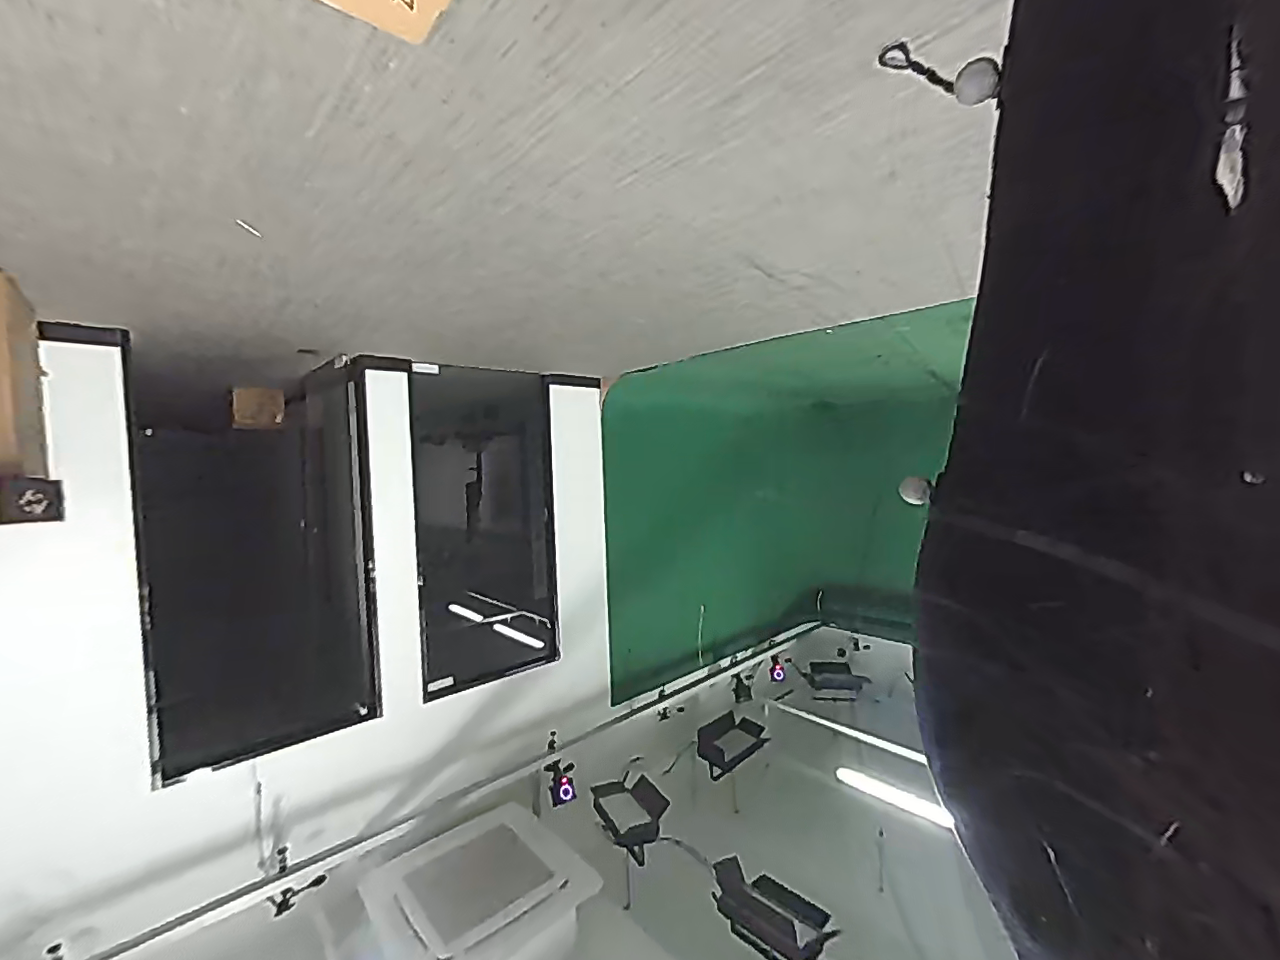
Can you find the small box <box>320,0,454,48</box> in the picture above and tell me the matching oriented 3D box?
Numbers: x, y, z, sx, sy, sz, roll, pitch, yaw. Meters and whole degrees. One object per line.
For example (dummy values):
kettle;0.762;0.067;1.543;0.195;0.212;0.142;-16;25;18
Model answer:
small box;-0.251;-0.553;0.477;0.179;0.176;0.168;-3;-177;-42
